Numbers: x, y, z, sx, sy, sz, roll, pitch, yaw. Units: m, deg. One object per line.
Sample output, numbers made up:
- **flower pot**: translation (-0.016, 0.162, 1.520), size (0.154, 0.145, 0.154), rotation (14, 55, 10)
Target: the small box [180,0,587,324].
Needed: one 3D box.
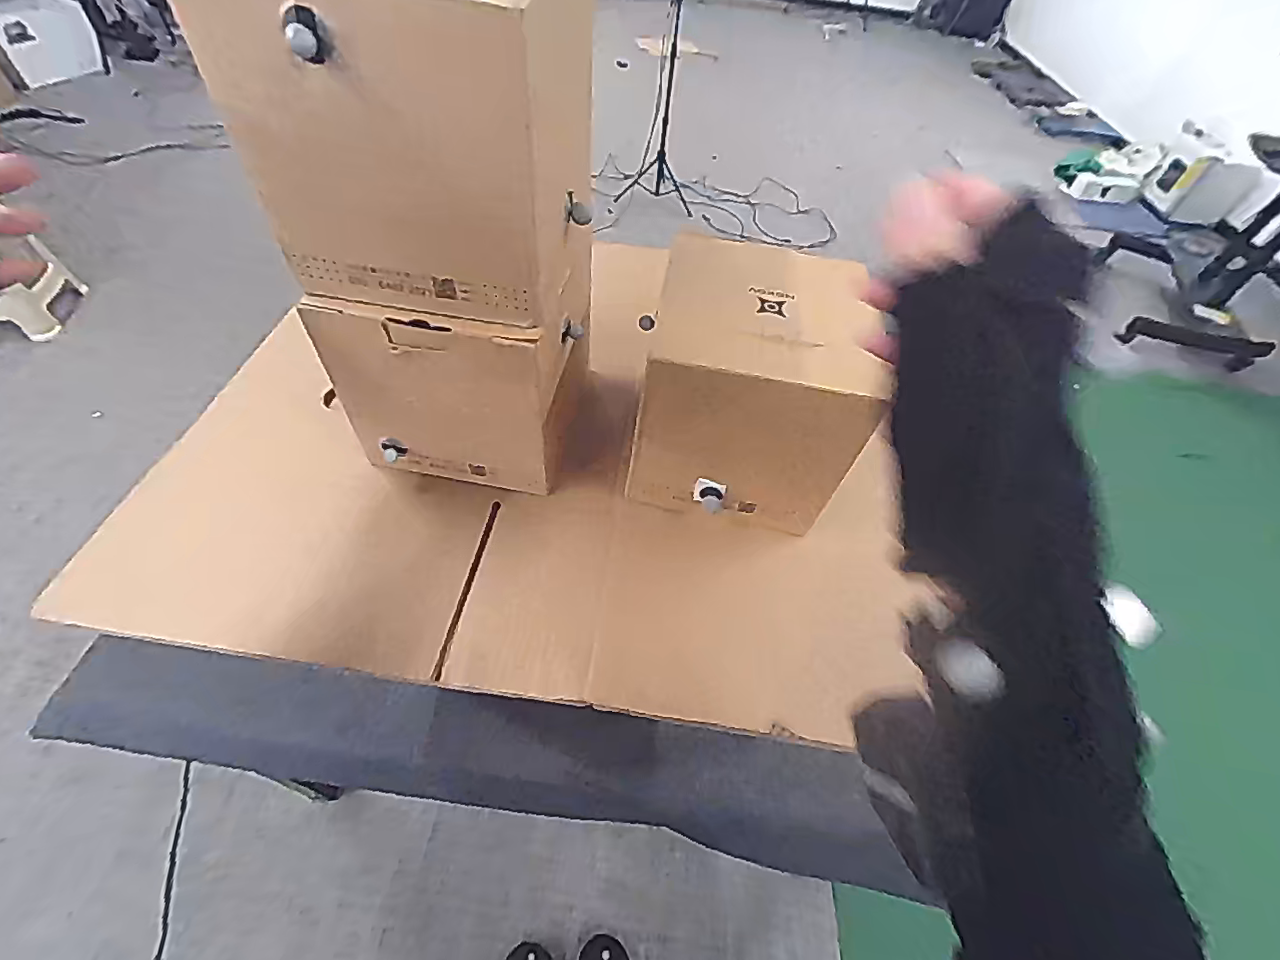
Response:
- **small box**: translation (-0.133, -0.229, 0.352), size (0.168, 0.176, 0.179), rotation (9, 51, 1)

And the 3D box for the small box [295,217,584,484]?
- **small box**: translation (-0.145, -0.119, 0.472), size (0.168, 0.176, 0.179), rotation (10, 51, 2)
